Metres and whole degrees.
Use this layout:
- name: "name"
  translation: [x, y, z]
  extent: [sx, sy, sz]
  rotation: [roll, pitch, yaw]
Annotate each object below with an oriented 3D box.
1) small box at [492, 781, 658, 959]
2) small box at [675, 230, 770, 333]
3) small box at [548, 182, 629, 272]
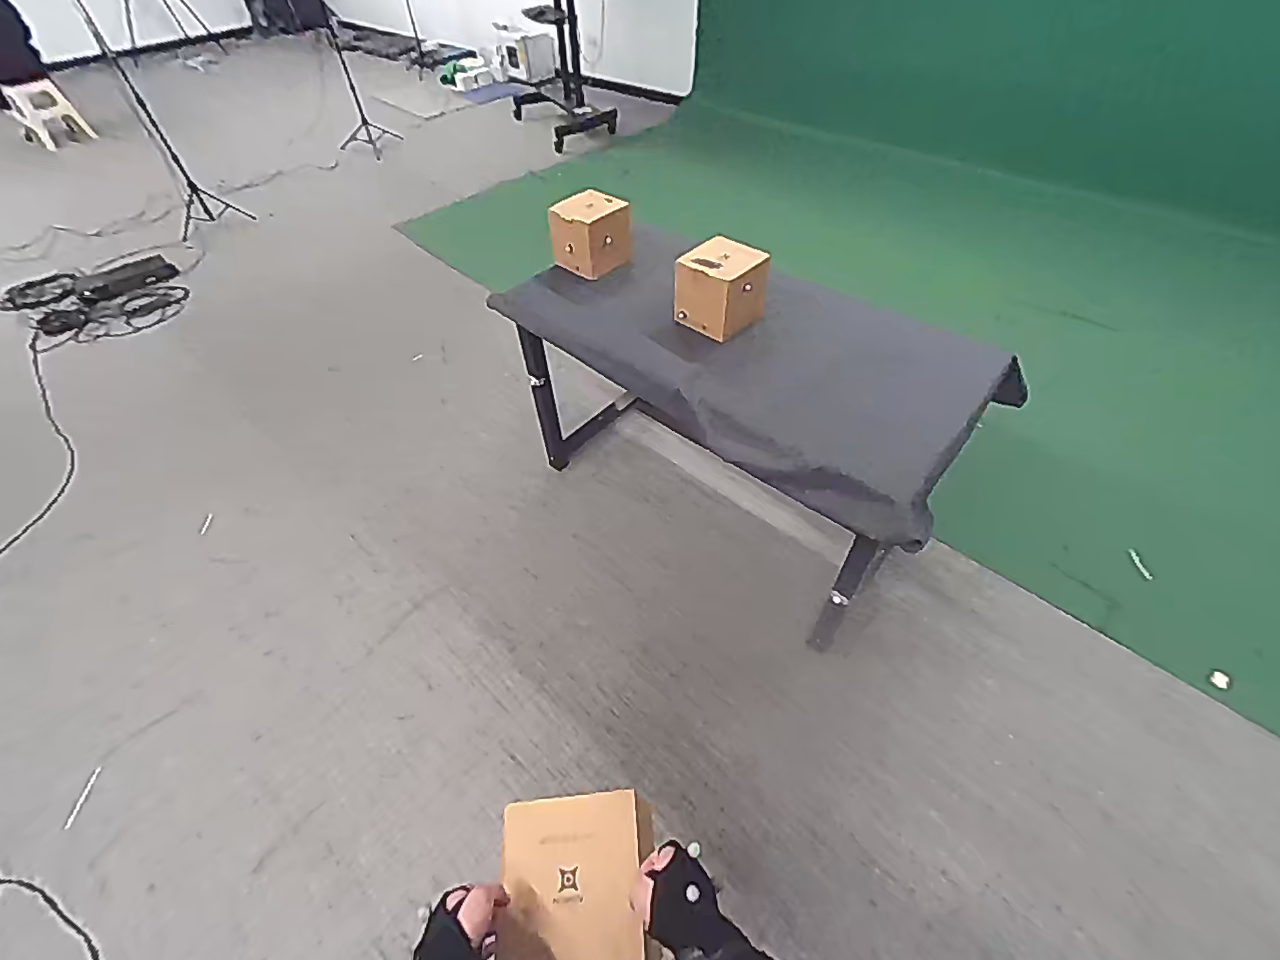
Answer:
- name: "small box"
  translation: [-0.073, 0.493, 0.680]
  extent: [0.168, 0.176, 0.179]
  rotation: [-8, 54, 3]
- name: "small box"
  translation: [0.207, -0.503, 1.377]
  extent: [0.168, 0.176, 0.179]
  rotation: [35, 59, 27]
- name: "small box"
  translation: [-0.142, -0.741, 1.592]
  extent: [0.168, 0.176, 0.179]
  rotation: [34, 60, 25]
